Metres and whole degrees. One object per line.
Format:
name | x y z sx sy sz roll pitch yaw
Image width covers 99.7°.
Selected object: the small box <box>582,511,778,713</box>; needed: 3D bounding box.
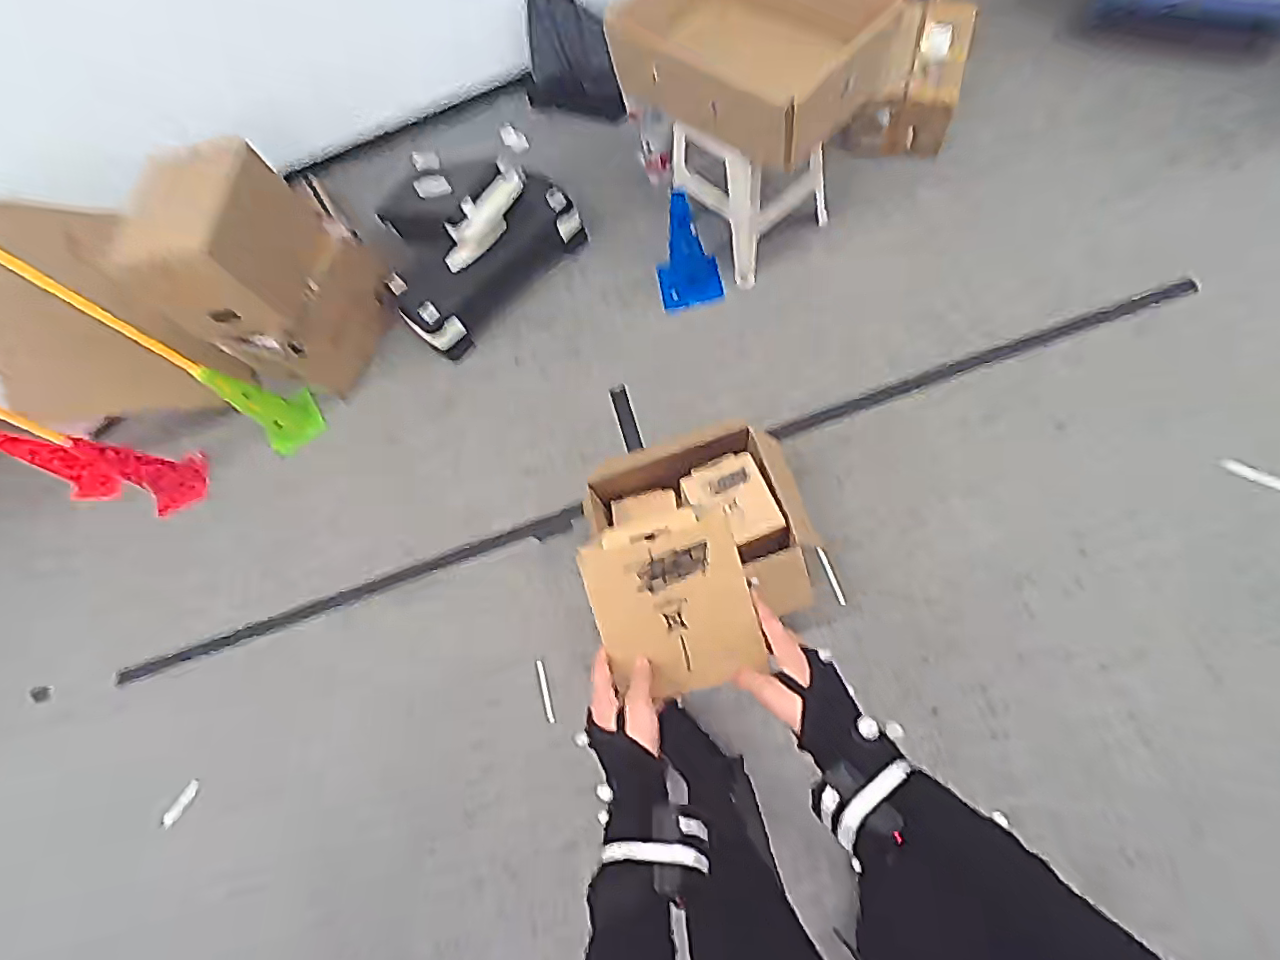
small box | 0.048 0.138 0.633 0.168 0.176 0.179 -17 88 7
